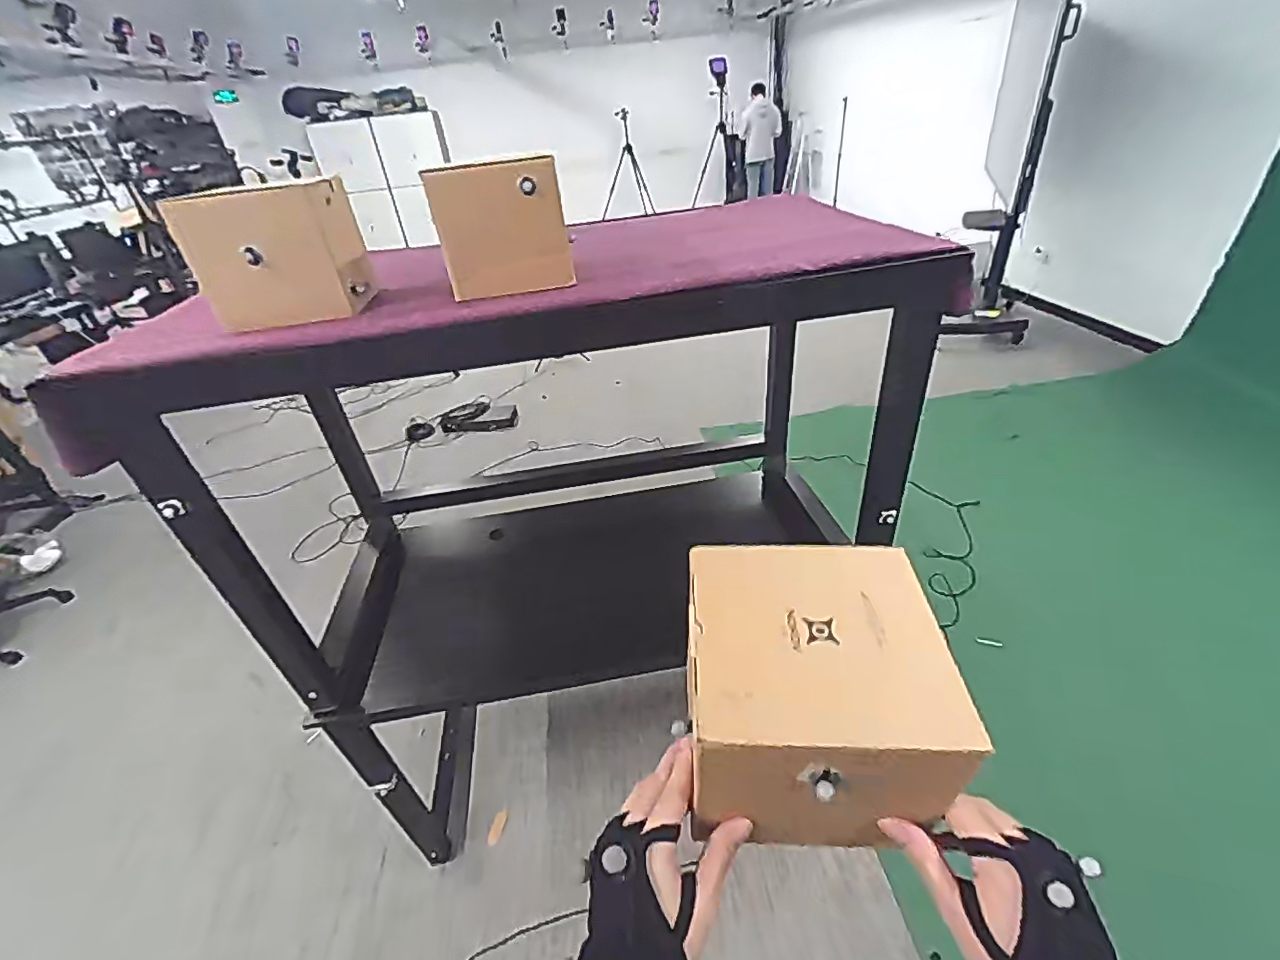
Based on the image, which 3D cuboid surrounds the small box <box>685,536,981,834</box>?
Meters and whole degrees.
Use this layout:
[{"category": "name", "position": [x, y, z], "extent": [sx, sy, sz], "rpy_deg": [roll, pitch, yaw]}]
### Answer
[{"category": "small box", "position": [0.125, 0.162, 0.434], "extent": [0.179, 0.176, 0.168], "rpy_deg": [0, 40, 4]}]

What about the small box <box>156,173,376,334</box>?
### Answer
[{"category": "small box", "position": [-0.503, -0.323, 0.767], "extent": [0.179, 0.176, 0.168], "rpy_deg": [-11, 34, -5]}]

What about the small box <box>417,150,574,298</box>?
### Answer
[{"category": "small box", "position": [-0.199, -0.376, 0.795], "extent": [0.179, 0.176, 0.168], "rpy_deg": [-9, 34, -4]}]
